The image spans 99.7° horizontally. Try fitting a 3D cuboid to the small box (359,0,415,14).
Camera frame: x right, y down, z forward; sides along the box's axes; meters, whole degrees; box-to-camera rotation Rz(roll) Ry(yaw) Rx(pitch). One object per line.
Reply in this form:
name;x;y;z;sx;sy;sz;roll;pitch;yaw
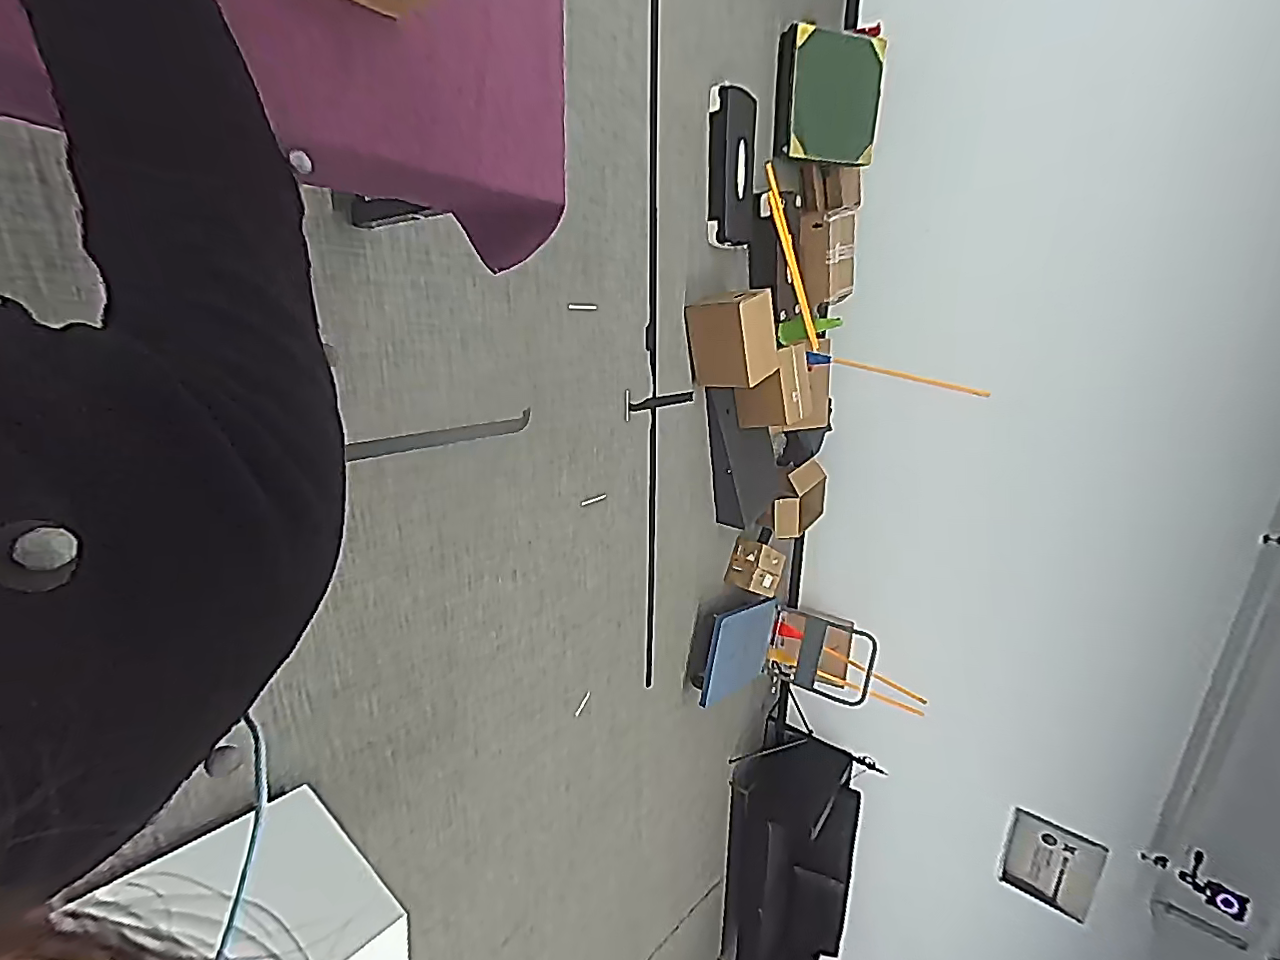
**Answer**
small box;-0.317;-0.670;0.599;0.168;0.176;0.179;-20;116;-49
